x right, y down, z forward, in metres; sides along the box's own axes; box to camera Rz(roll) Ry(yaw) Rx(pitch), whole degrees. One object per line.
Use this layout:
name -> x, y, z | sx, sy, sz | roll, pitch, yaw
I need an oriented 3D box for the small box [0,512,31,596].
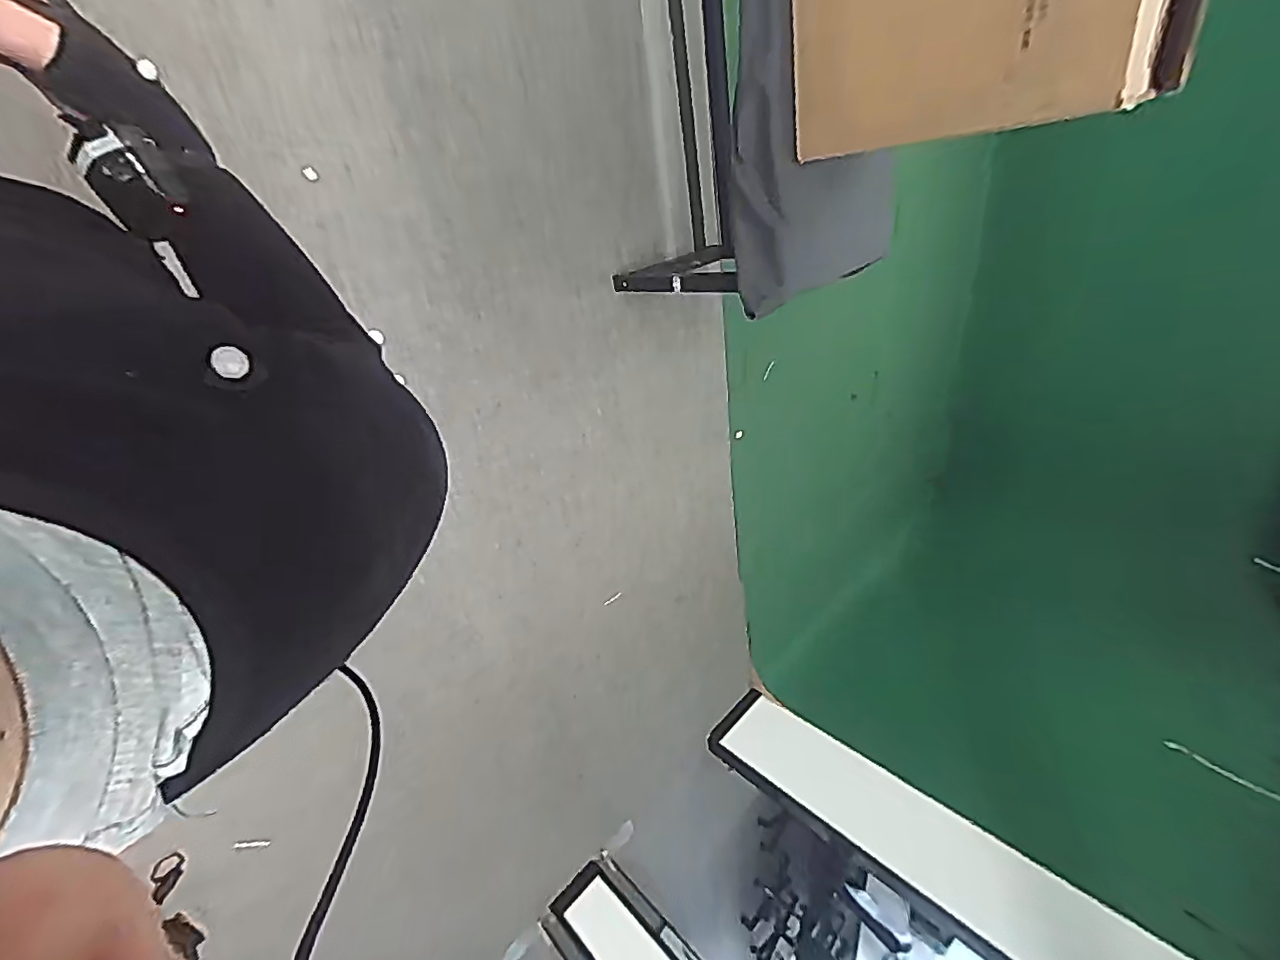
small box -> -1.266, 0.140, 0.975 | 0.179, 0.176, 0.168 | -33, 127, -35
